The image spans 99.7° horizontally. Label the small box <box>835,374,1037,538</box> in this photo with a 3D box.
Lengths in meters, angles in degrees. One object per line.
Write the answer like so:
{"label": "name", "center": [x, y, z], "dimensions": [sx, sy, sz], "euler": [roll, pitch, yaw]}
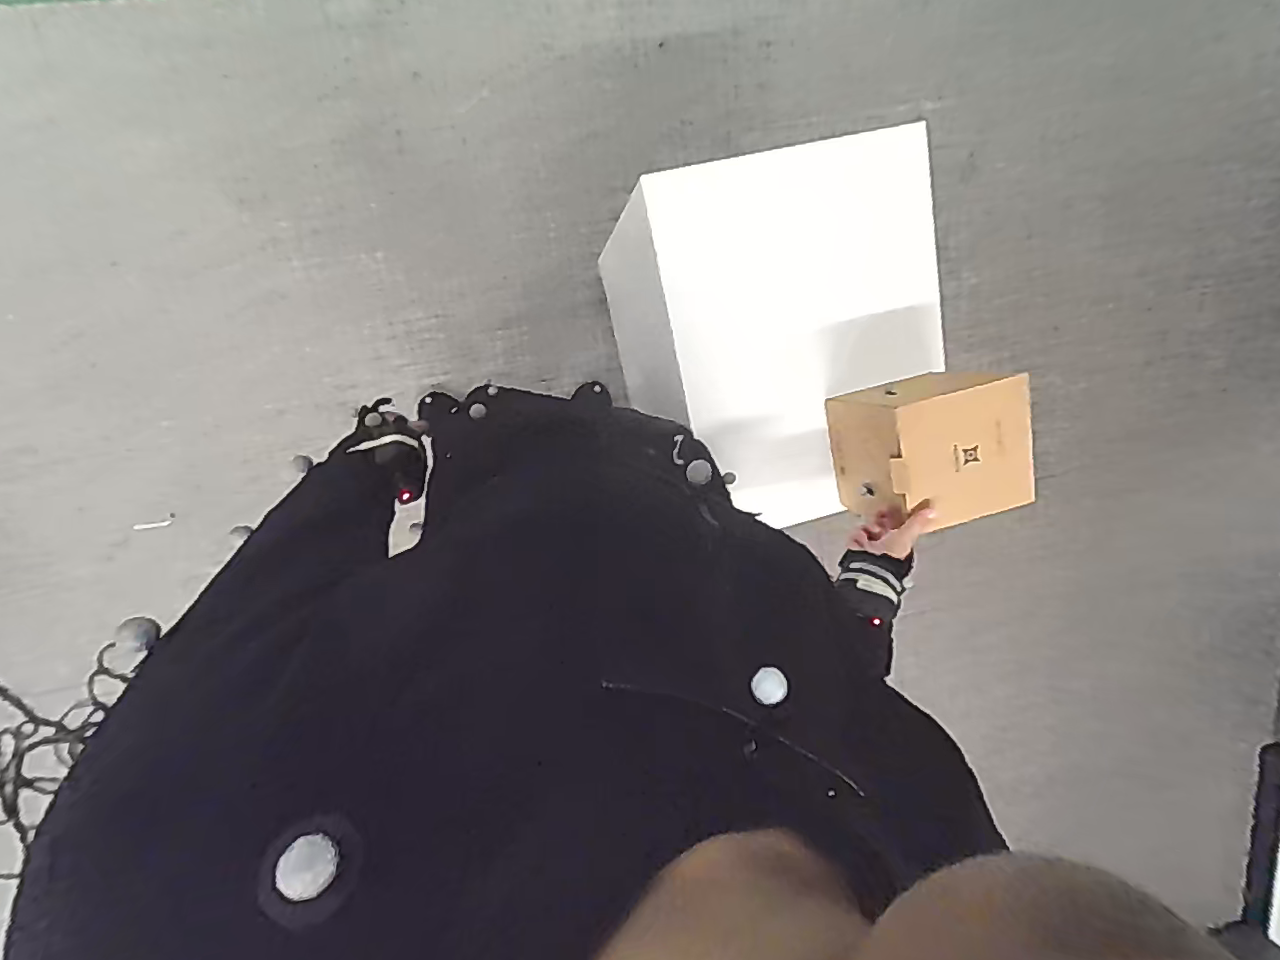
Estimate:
{"label": "small box", "center": [0.380, -0.041, 0.722], "dimensions": [0.179, 0.176, 0.168], "euler": [-15, 104, -6]}
